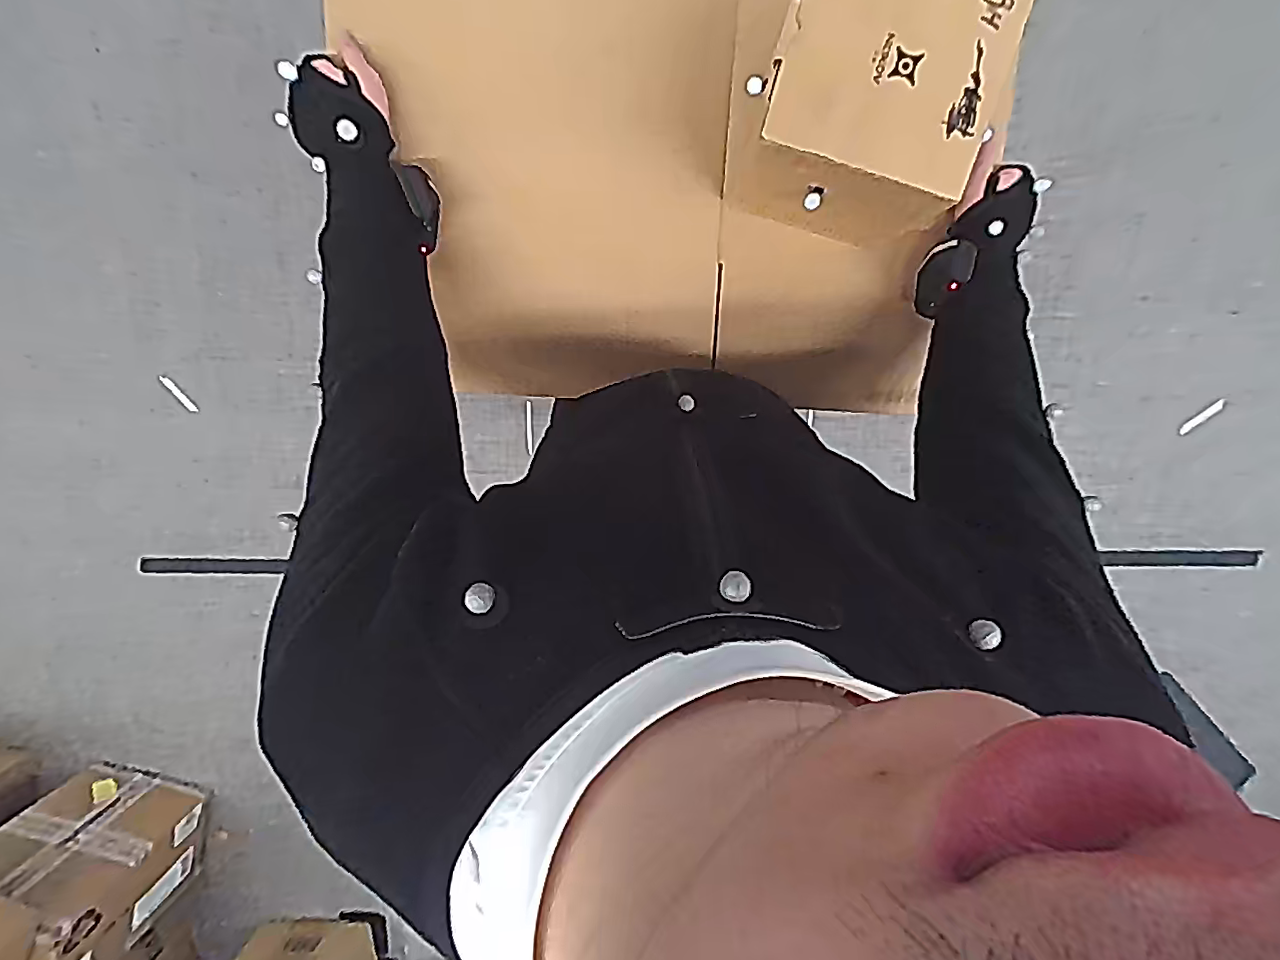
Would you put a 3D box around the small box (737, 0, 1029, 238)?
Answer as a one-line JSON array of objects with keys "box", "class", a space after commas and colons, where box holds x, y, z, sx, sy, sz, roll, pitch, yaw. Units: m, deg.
[{"box": [0.203, -0.349, 0.508, 0.179, 0.176, 0.168, 16, 100, -1], "class": "small box"}]
